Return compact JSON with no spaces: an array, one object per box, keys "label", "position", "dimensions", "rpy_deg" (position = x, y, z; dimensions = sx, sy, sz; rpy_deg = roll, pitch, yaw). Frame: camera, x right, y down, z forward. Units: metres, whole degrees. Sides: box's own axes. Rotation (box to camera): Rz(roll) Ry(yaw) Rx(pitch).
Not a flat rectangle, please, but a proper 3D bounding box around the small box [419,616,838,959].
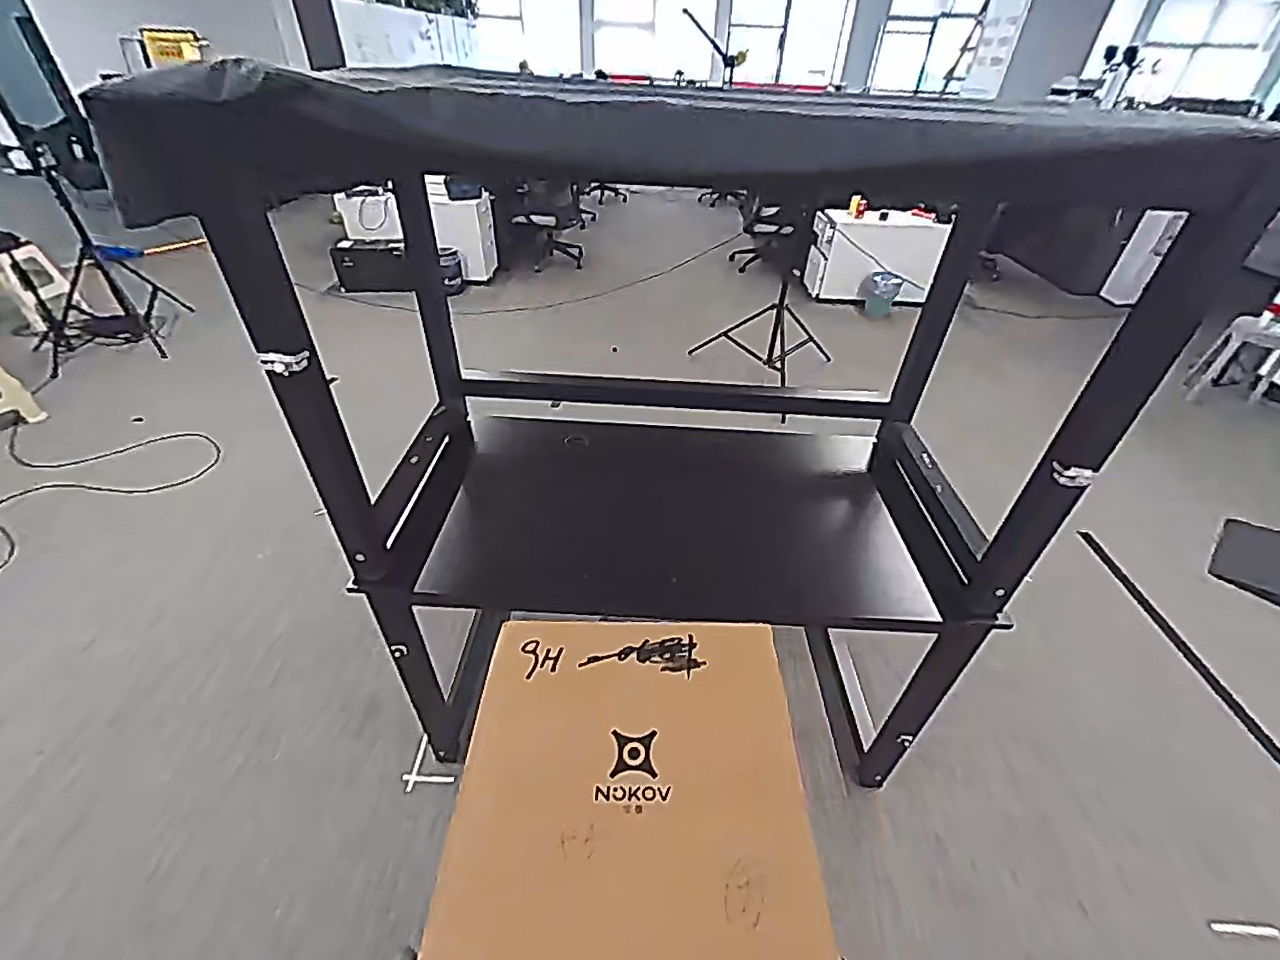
[{"label":"small box","position":[-0.003,0.200,0.311],"dimensions":[0.168,0.176,0.179],"rpy_deg":[1,41,0]}]
